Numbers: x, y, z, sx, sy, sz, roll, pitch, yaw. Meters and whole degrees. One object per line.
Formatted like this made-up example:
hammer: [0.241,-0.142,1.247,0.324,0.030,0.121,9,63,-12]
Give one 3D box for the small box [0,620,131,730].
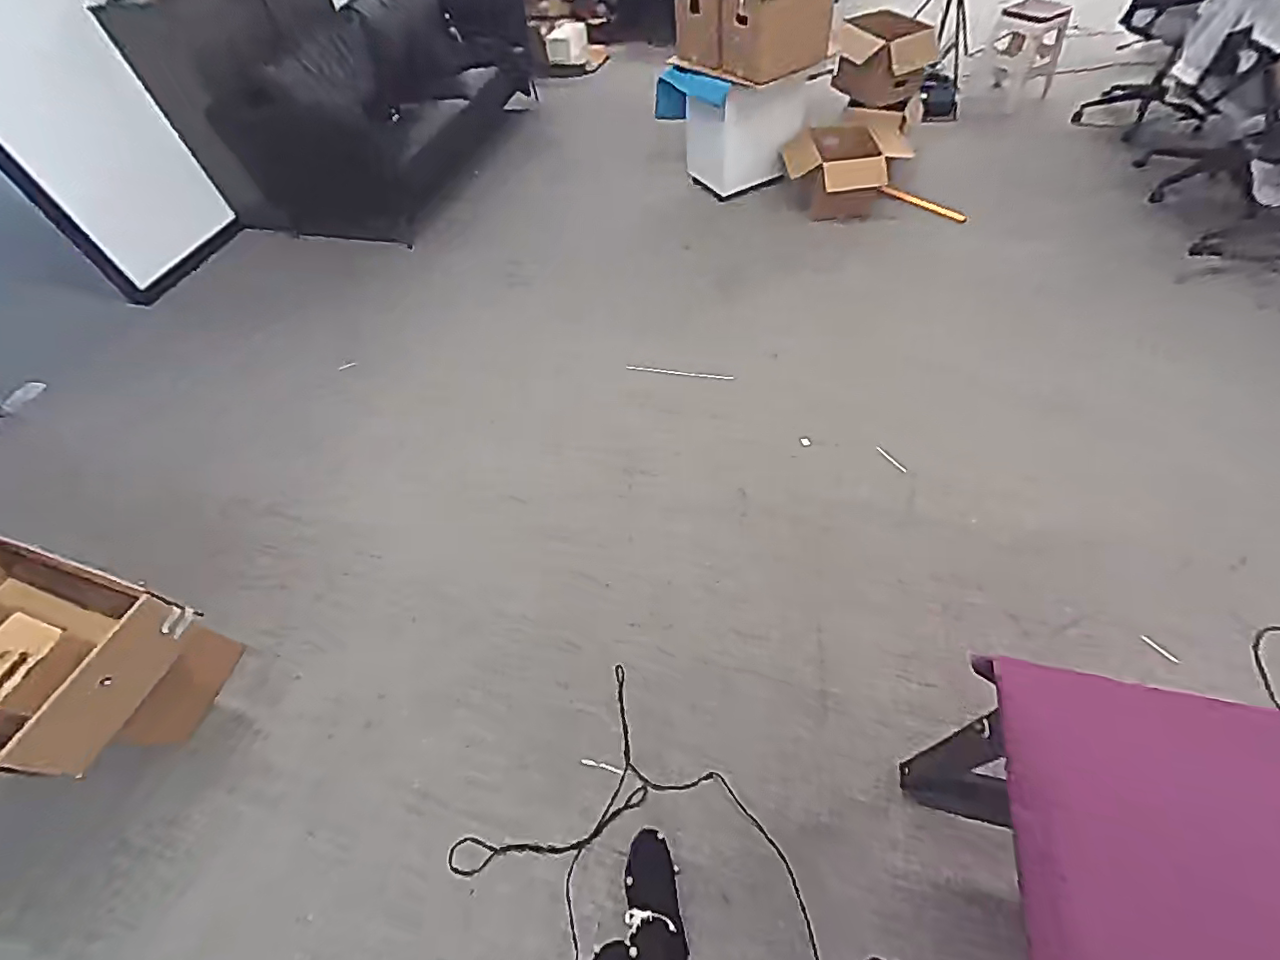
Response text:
small box: [-1.322,0.442,1.212,0.179,0.176,0.168,11,55,17]
